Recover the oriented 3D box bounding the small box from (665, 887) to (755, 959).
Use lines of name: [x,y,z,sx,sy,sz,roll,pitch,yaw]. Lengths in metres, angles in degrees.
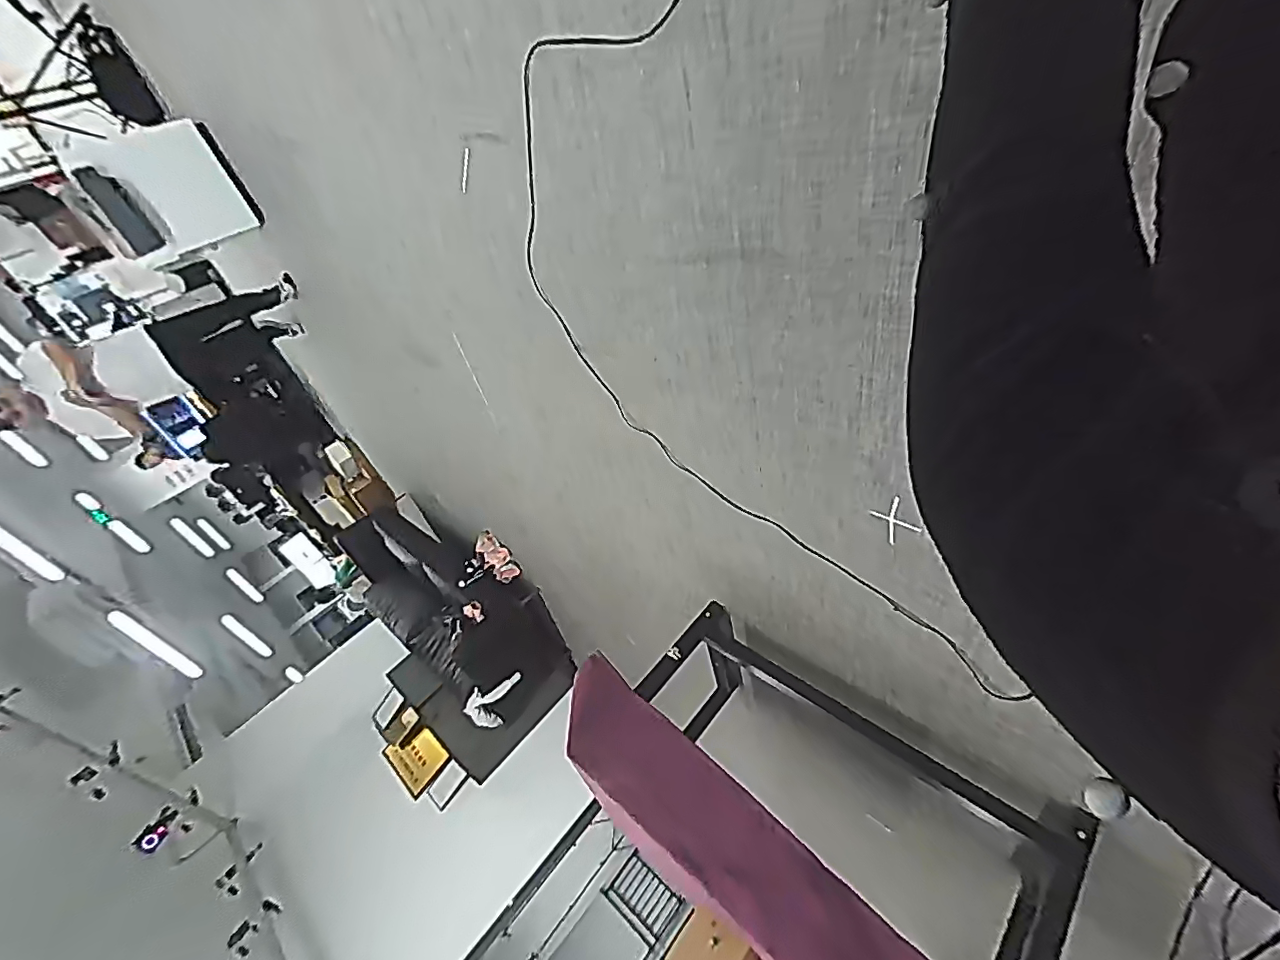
small box: [0.200,1.286,1.497,0.168,0.176,0.179,18,139,43]
